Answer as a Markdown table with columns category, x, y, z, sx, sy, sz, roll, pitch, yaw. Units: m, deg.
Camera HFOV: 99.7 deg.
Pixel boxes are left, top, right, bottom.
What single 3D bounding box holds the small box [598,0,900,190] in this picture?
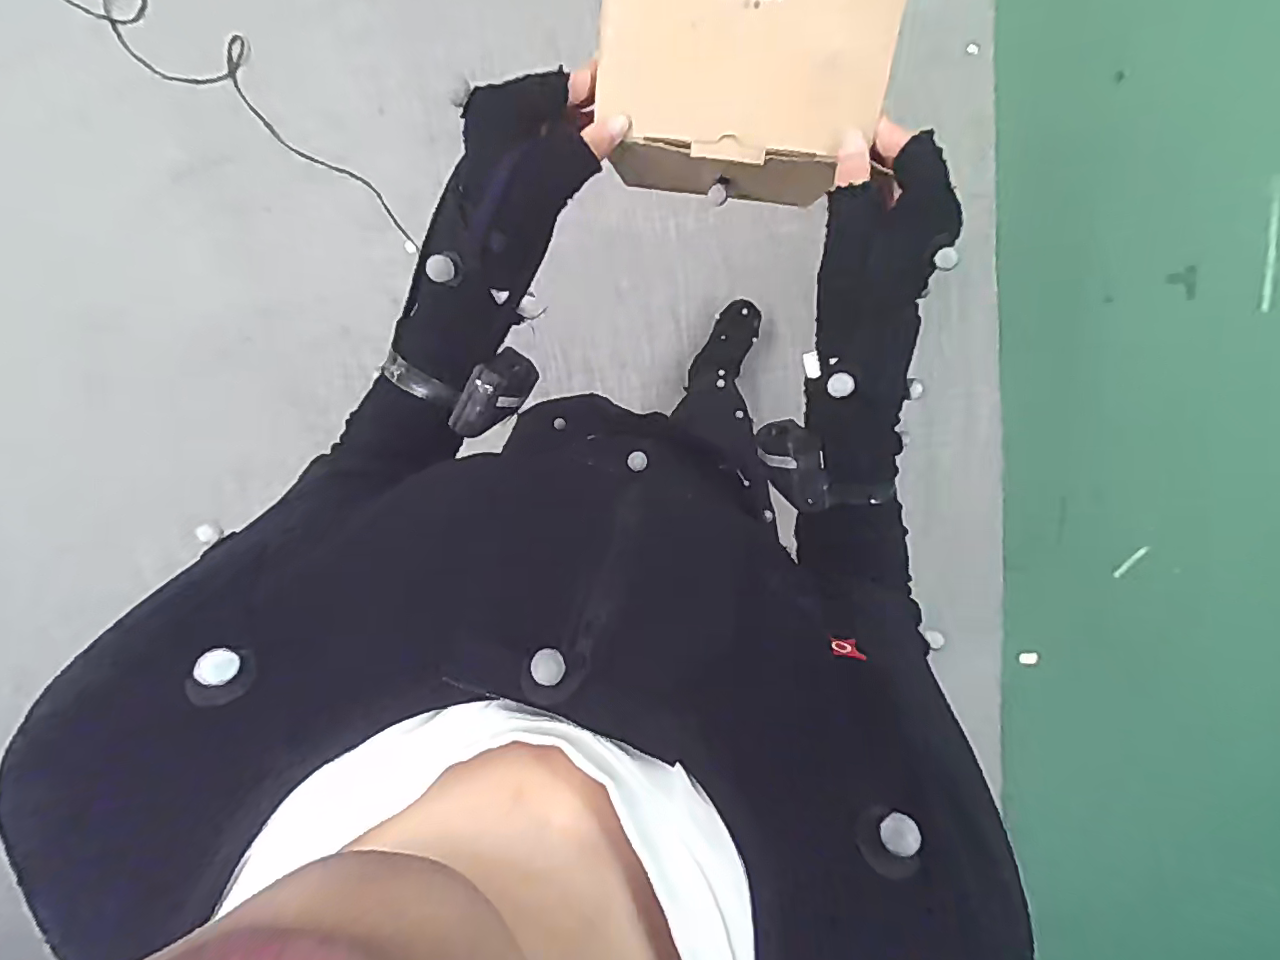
| category | x | y | z | sx | sy | sz | roll | pitch | yaw |
| --- | --- | --- | --- | --- | --- | --- | --- | --- | --- |
| small box | 0.072 | -0.312 | 0.371 | 0.168 | 0.176 | 0.179 | 7 | 111 | 3 |
